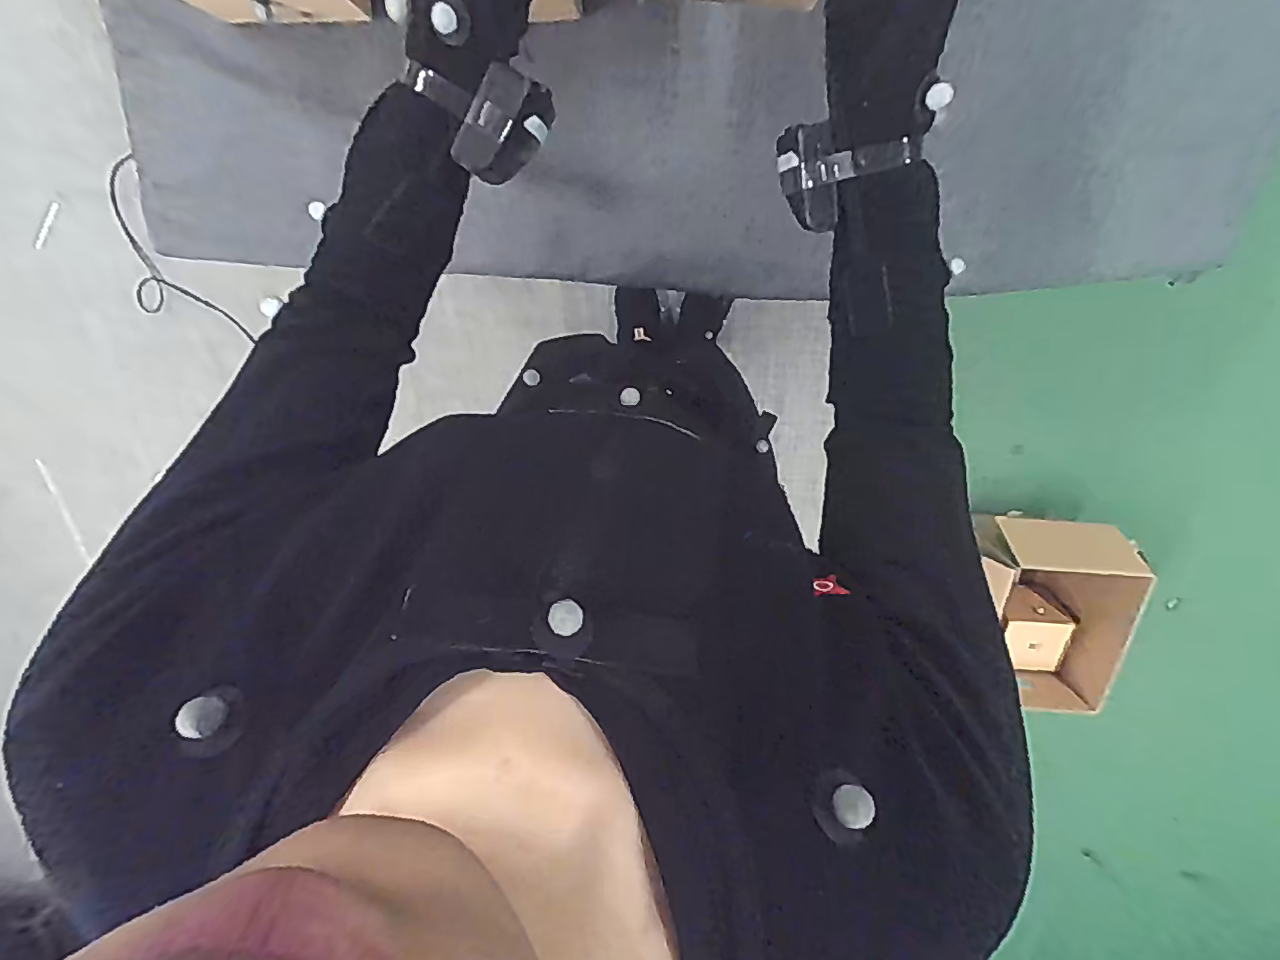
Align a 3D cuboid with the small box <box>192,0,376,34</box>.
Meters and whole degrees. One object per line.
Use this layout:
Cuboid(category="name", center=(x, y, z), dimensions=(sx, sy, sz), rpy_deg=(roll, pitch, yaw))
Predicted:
Cuboid(category="small box", center=(-0.357, -0.528, 0.467), dimensions=(0.168, 0.176, 0.179), rpy_deg=(2, 111, 3))
